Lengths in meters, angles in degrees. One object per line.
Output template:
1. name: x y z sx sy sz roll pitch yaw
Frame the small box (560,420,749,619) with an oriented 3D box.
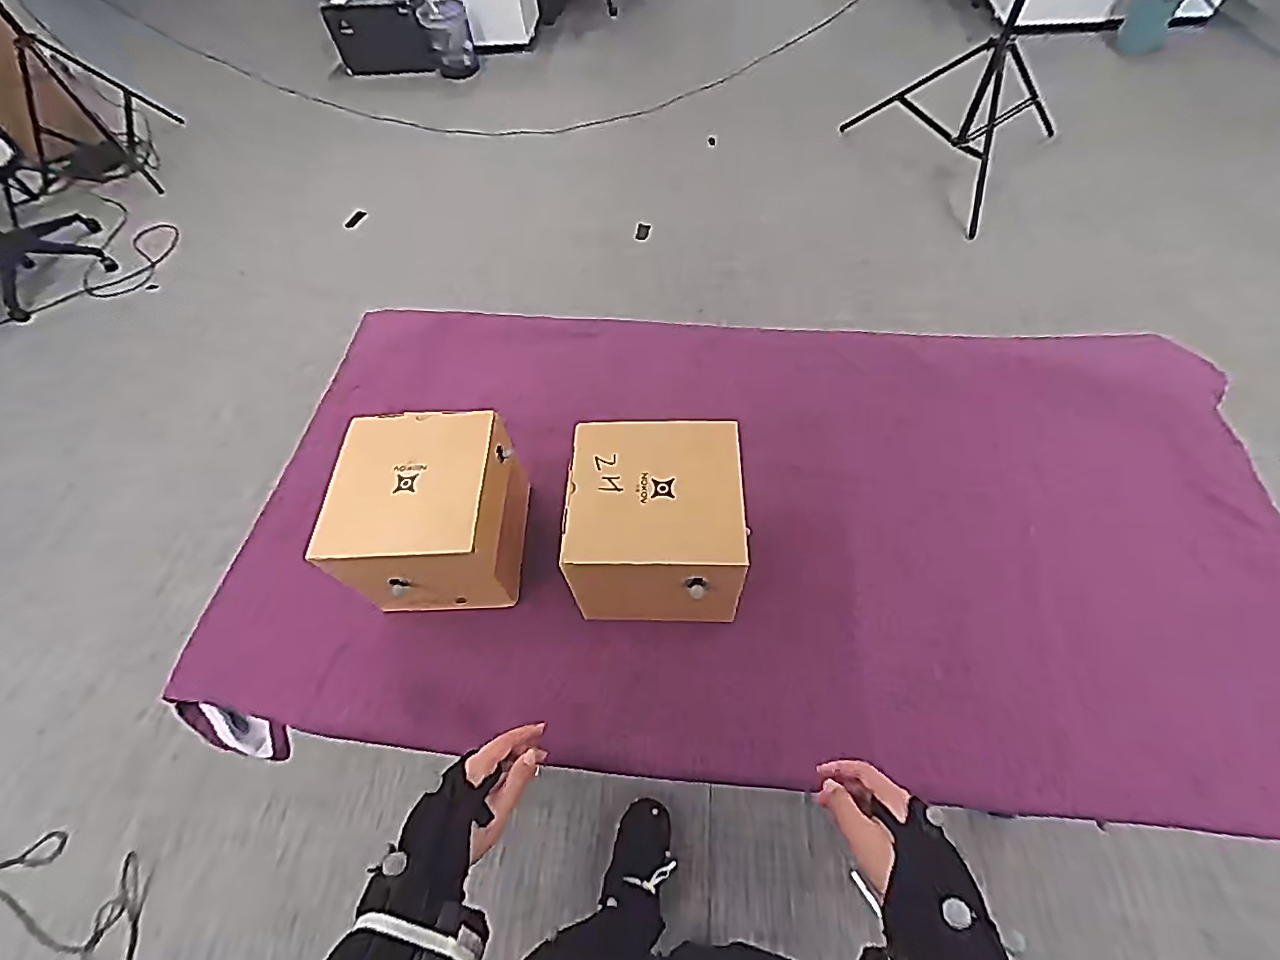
1. small box: 0.019 0.050 0.604 0.179 0.176 0.168 -1 57 4

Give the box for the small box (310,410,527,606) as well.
1. small box: -0.236 0.042 0.631 0.168 0.176 0.179 -3 57 2
